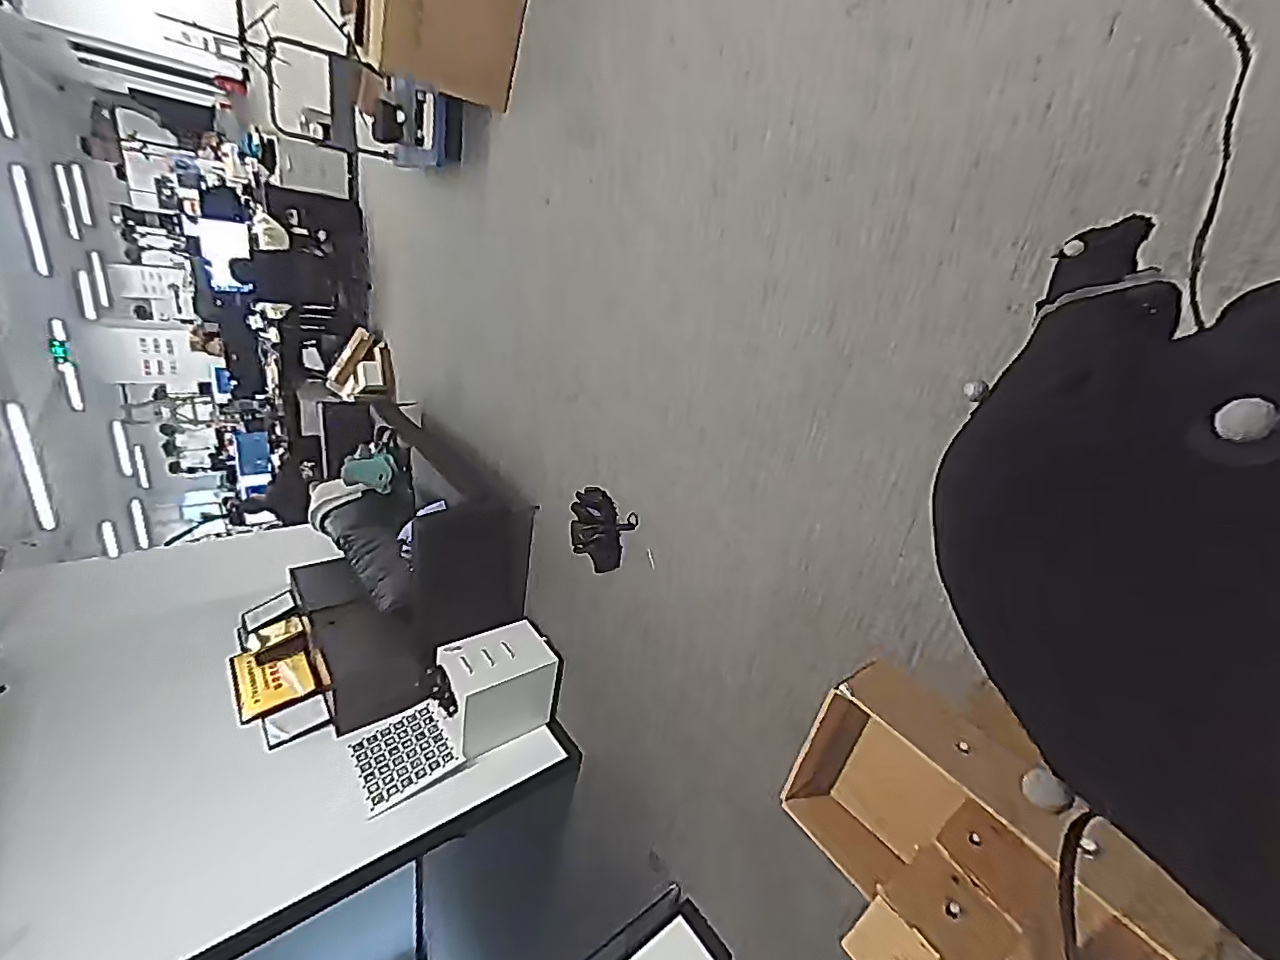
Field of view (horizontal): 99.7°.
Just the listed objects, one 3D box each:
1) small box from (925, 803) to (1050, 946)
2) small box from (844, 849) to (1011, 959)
[{"bbox_3d":[0.622,0.752,1.010,0.168,0.176,0.179,41,129,42],"label":"small box"},{"bbox_3d":[0.489,0.780,0.917,0.168,0.176,0.179,40,126,42],"label":"small box"}]
